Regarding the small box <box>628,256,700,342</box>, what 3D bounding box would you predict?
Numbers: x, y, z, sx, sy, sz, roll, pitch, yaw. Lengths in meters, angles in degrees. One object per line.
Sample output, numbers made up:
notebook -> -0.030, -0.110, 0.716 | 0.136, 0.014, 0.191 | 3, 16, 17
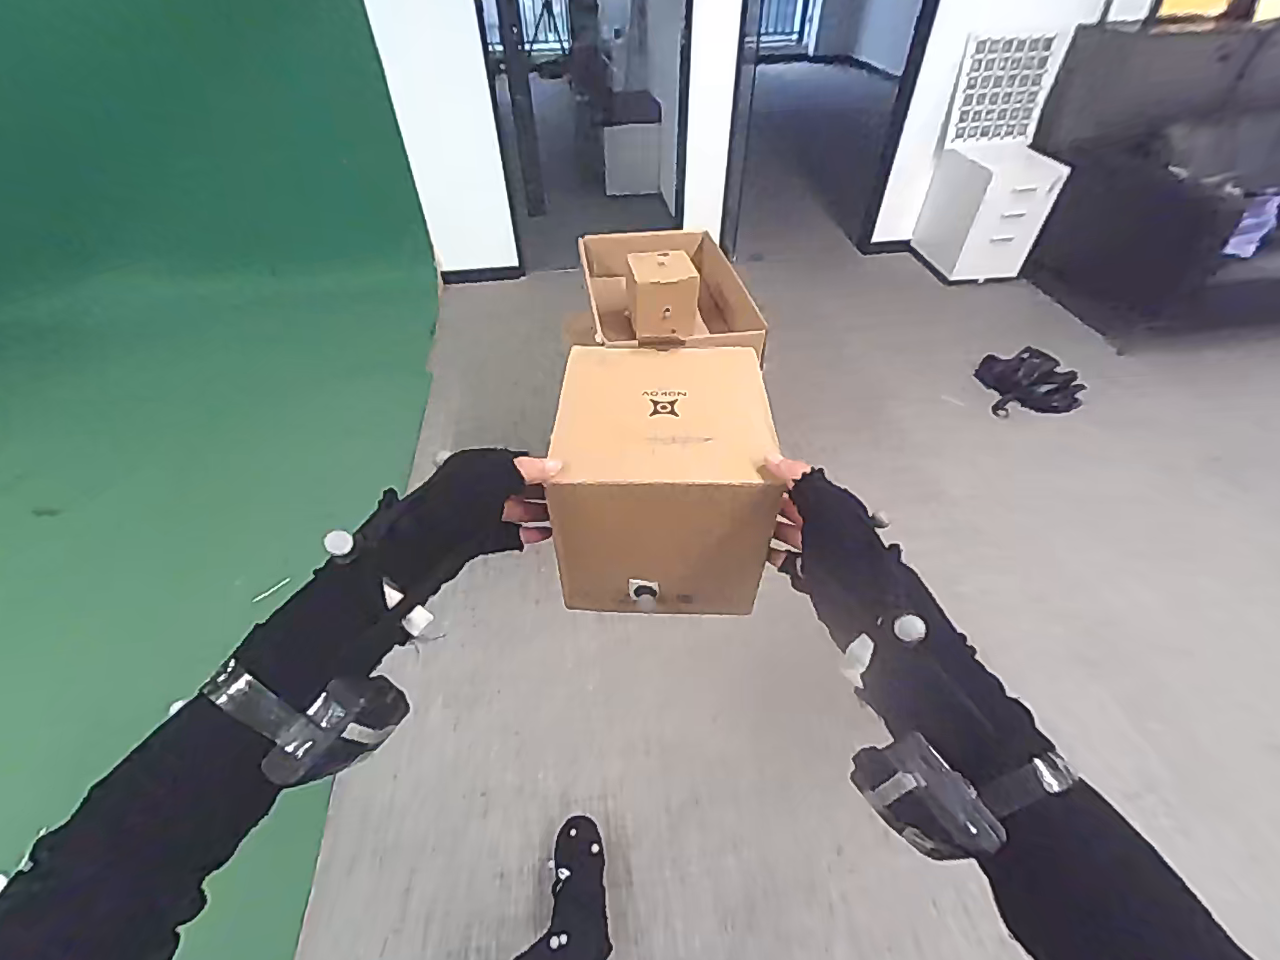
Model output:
small box -> 0.062, -0.490, 1.477 | 0.168, 0.176, 0.179 | -6, 46, -7

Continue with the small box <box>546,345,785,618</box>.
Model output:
small box -> 0.020, -0.001, 0.479 | 0.168, 0.176, 0.179 | 1, 44, 2
